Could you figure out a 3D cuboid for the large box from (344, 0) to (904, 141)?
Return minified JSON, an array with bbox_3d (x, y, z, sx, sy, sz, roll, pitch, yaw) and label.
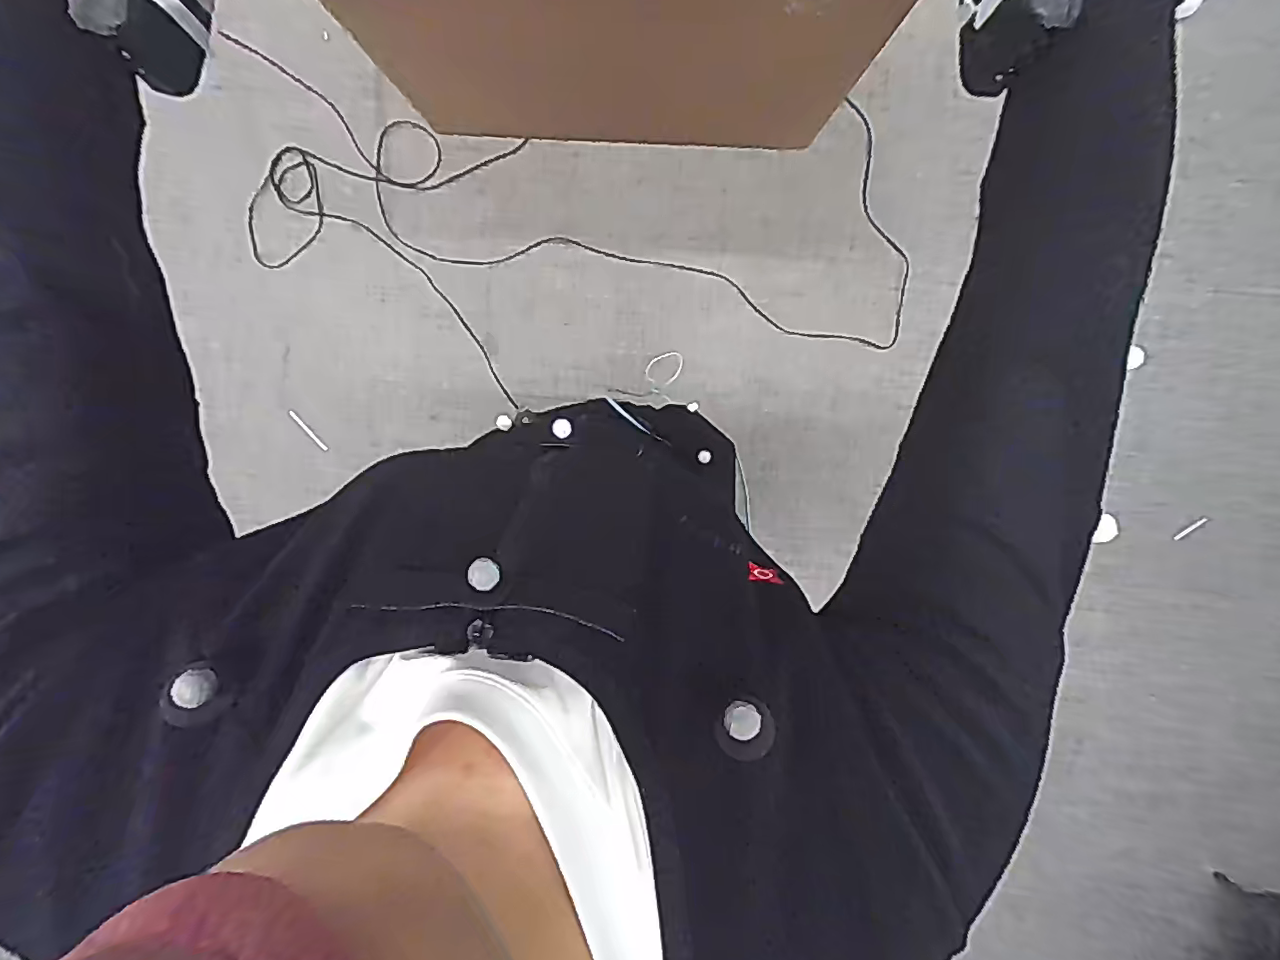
[{"bbox_3d":[-0.013,-0.490,0.411,0.408,0.320,0.320,2,102,-1],"label":"large box"}]
